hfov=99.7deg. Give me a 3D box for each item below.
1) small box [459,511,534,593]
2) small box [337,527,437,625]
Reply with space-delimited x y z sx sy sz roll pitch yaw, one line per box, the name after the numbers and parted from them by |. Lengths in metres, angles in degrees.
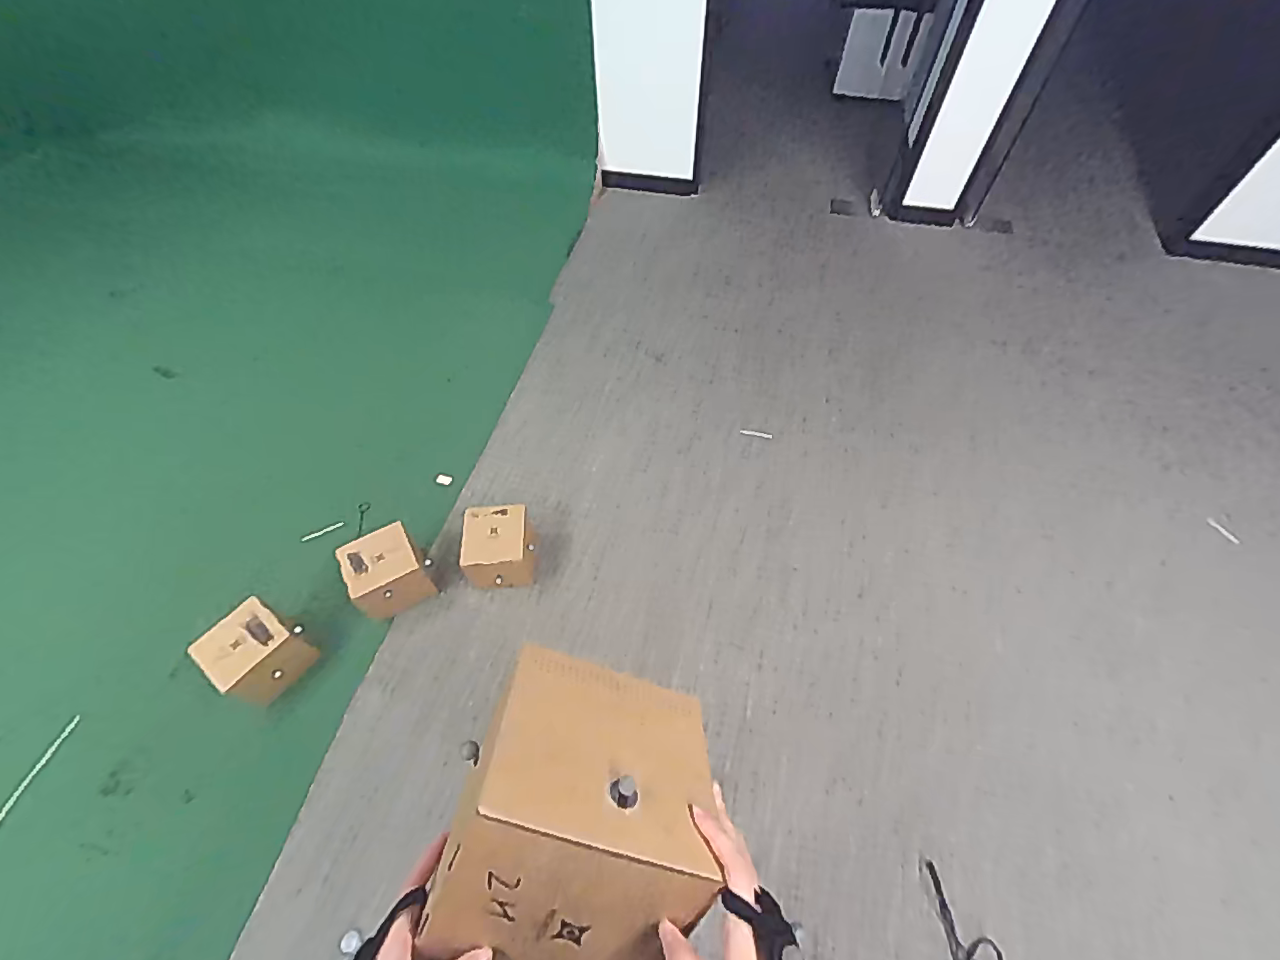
-0.392 0.206 1.508 0.168 0.176 0.179 -4 56 -2 | small box
-0.682 0.266 1.467 0.179 0.176 0.168 -26 59 -18 | small box
